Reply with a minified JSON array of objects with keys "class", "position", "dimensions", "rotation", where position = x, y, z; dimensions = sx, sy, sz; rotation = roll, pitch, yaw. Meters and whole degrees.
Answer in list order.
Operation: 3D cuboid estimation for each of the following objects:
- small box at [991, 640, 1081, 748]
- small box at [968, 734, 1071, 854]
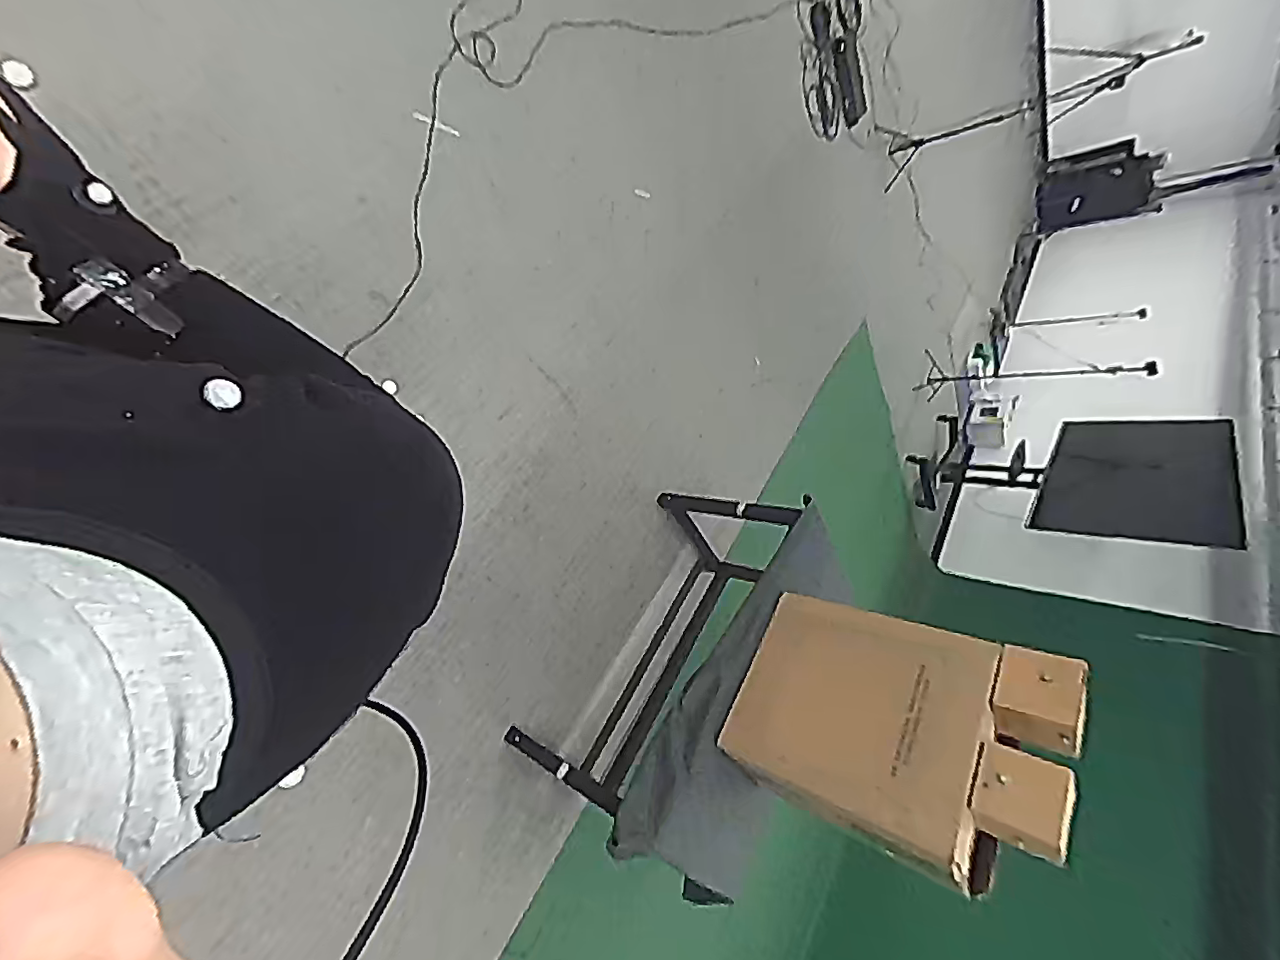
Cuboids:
[{"class":"small box","position":[1.001,0.531,1.367],"dimensions":[0.179,0.176,0.168],"rotation":[-55,129,-30]},{"class":"small box","position":[0.886,0.725,1.261],"dimensions":[0.179,0.176,0.168],"rotation":[53,58,-35]}]
